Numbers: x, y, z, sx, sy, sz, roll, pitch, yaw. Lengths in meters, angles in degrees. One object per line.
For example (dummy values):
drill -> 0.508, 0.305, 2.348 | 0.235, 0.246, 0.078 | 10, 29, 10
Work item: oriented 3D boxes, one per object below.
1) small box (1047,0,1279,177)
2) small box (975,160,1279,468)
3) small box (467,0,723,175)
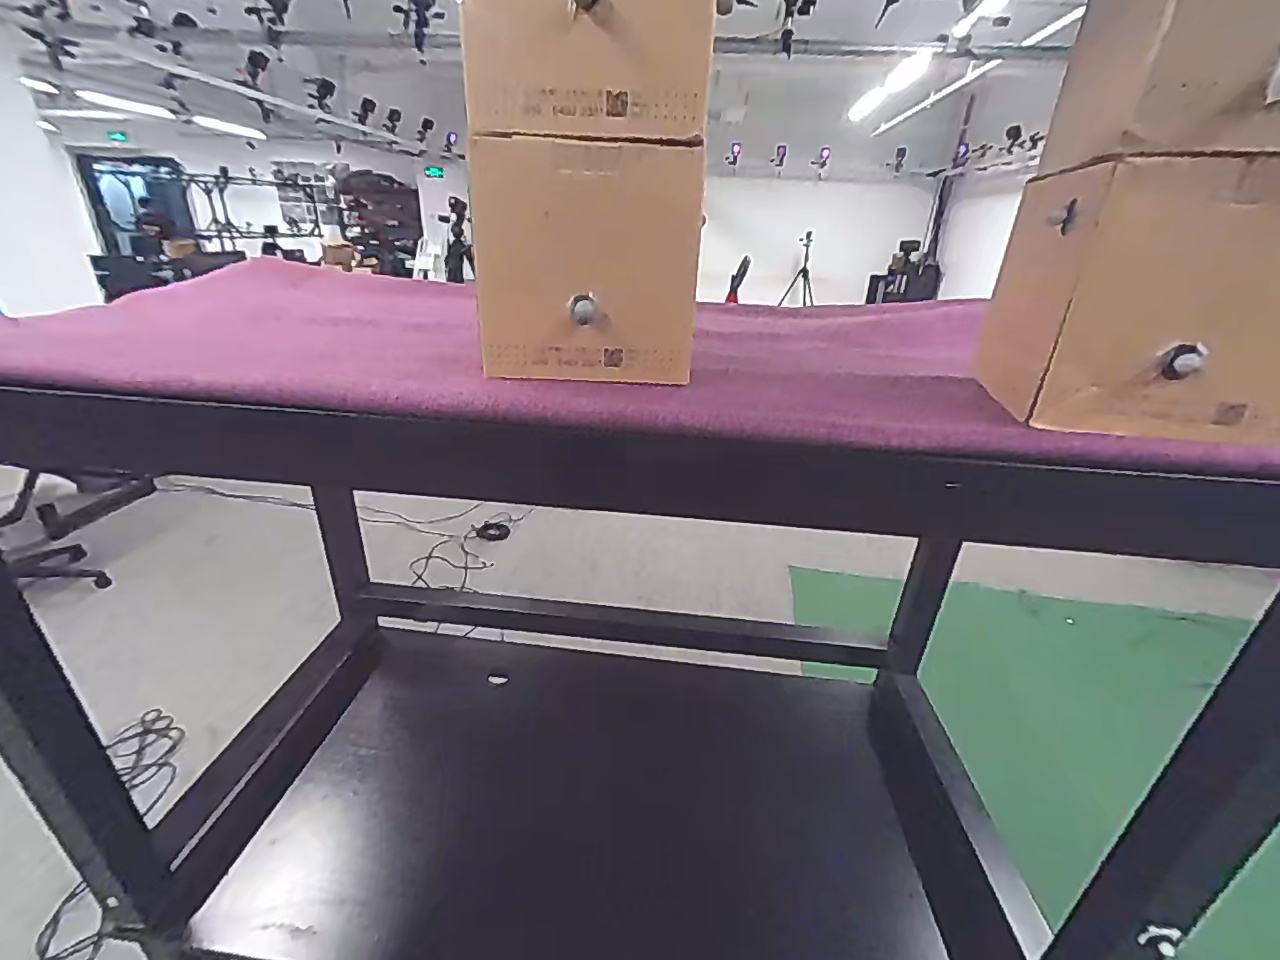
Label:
small box -> 0.378, -0.268, 0.318 | 0.168, 0.176, 0.179 | 10, 28, 18
small box -> 0.373, -0.125, 0.394 | 0.168, 0.176, 0.179 | 9, 27, 14
small box -> -0.023, -0.334, 0.409 | 0.168, 0.176, 0.179 | 4, 25, 3
